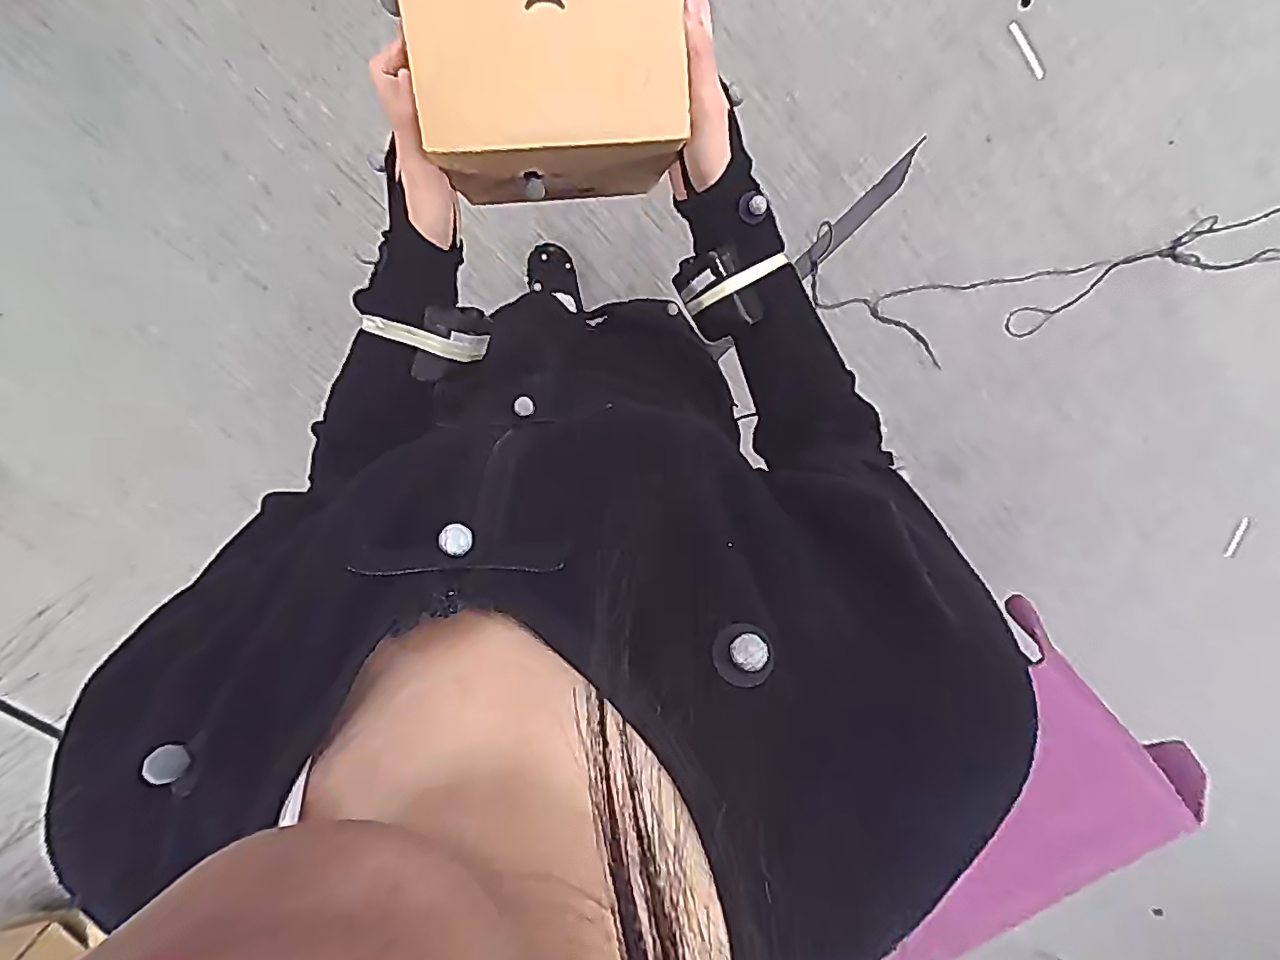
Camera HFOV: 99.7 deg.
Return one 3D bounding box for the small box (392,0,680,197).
[{"bbox_3d":[-0.069,-0.312,0.384,0.168,0.176,0.179,-7,107,-5],"label":"small box"}]
